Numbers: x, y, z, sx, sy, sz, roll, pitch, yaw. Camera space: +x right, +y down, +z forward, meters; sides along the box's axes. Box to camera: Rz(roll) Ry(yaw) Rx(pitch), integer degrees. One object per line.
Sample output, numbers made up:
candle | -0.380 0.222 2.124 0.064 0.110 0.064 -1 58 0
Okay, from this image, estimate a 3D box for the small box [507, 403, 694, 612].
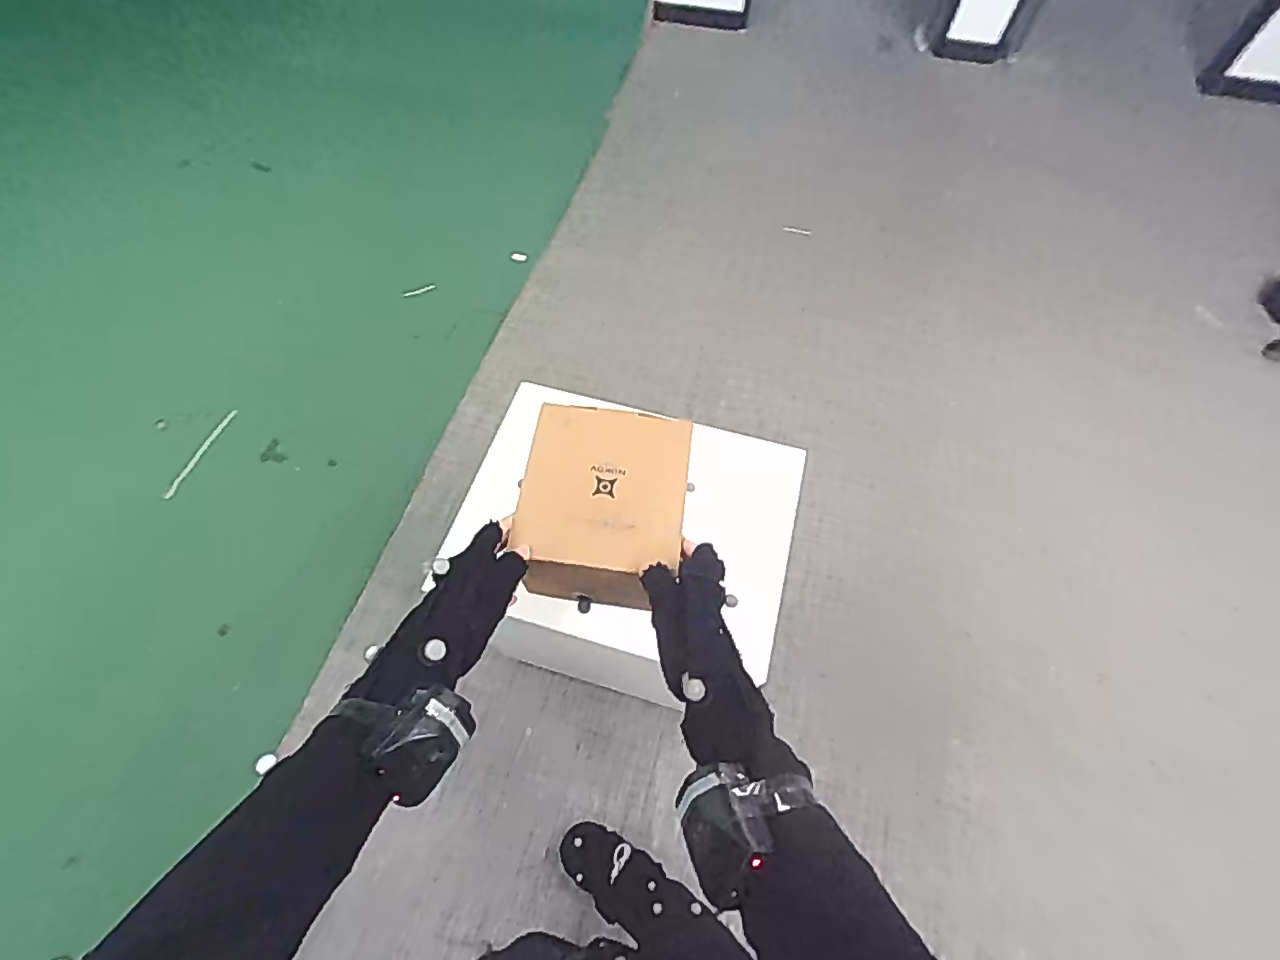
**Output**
small box | -0.037 0.038 0.615 0.168 0.176 0.179 8 66 2
